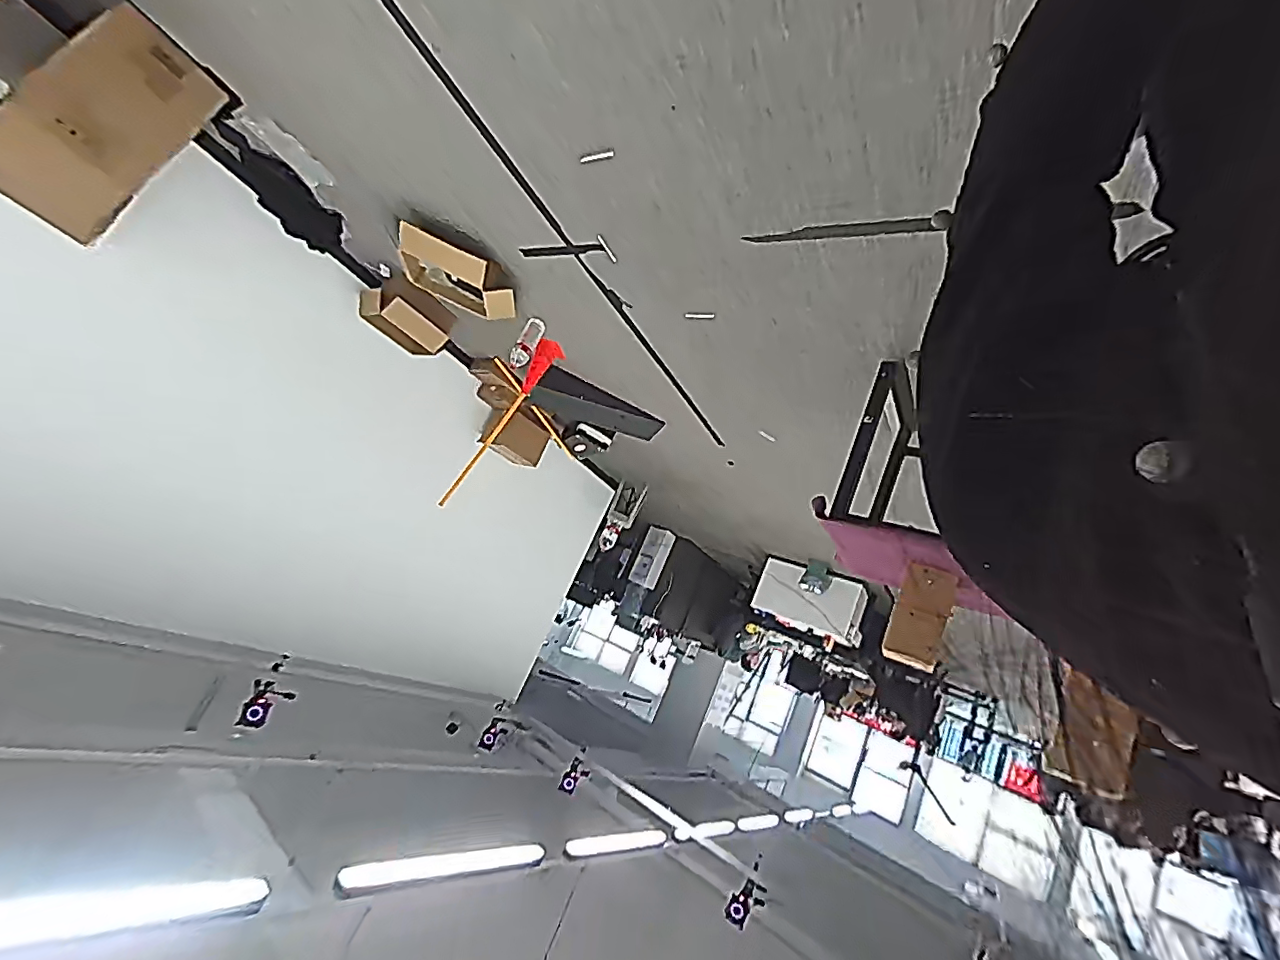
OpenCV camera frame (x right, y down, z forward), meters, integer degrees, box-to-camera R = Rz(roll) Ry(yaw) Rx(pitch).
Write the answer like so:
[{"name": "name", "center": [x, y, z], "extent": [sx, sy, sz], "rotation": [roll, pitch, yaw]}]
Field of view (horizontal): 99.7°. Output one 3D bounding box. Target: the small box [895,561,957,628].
[{"name": "small box", "center": [1.032, 0.413, 1.954], "extent": [0.168, 0.176, 0.179], "rotation": [15, 163, 31]}]

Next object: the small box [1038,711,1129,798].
[{"name": "small box", "center": [1.286, 0.794, 1.571], "extent": [0.168, 0.176, 0.179], "rotation": [14, 162, 35]}]

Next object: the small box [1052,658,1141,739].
[{"name": "small box", "center": [1.357, 0.650, 1.611], "extent": [0.168, 0.176, 0.179], "rotation": [14, 163, 36]}]
